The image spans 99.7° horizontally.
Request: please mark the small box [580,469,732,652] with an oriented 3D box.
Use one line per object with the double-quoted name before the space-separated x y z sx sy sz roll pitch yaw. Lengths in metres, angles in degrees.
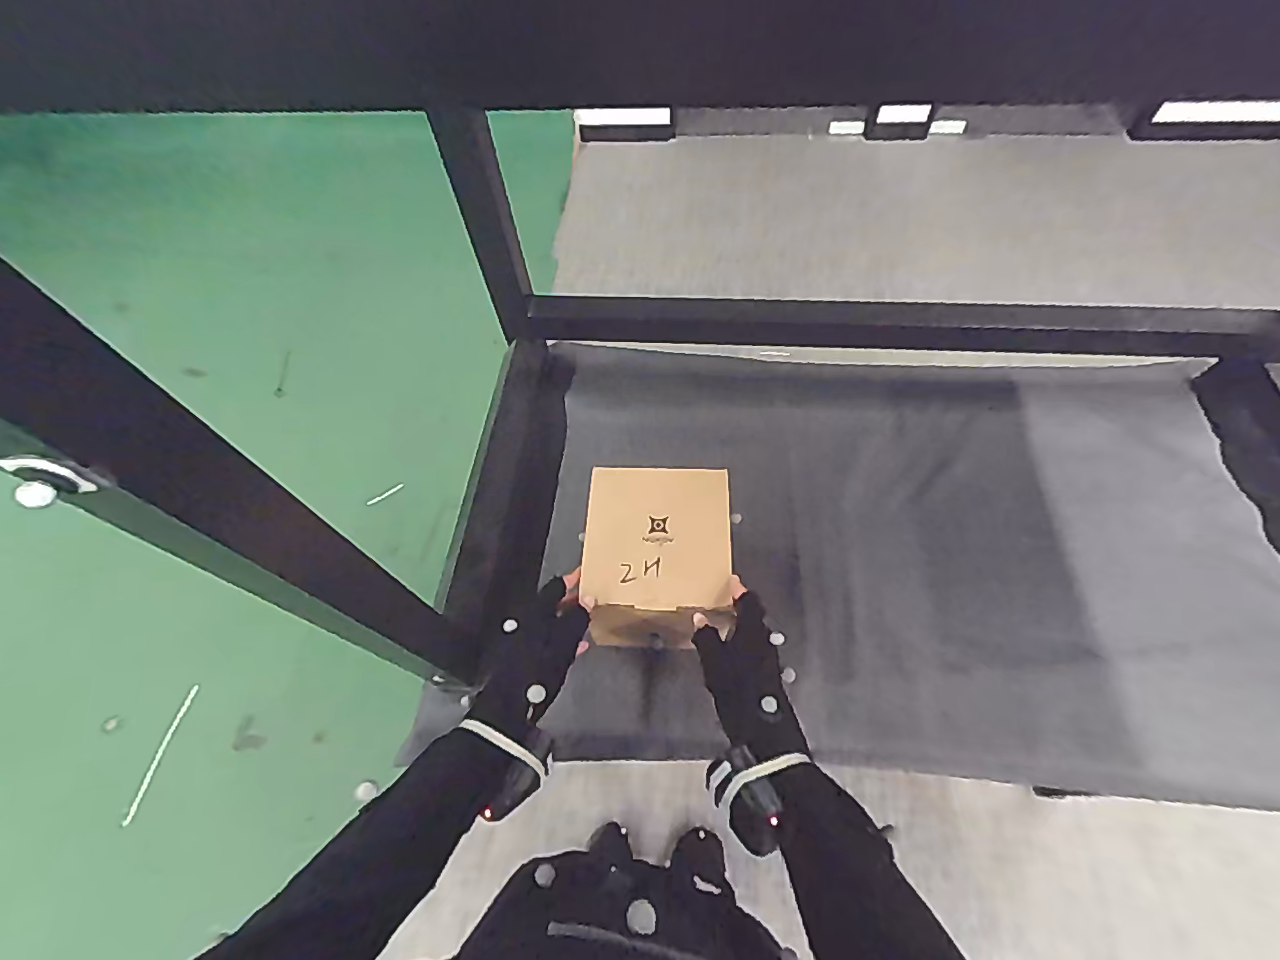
"small box" 0.025 0.104 0.682 0.168 0.176 0.179 1 58 4
